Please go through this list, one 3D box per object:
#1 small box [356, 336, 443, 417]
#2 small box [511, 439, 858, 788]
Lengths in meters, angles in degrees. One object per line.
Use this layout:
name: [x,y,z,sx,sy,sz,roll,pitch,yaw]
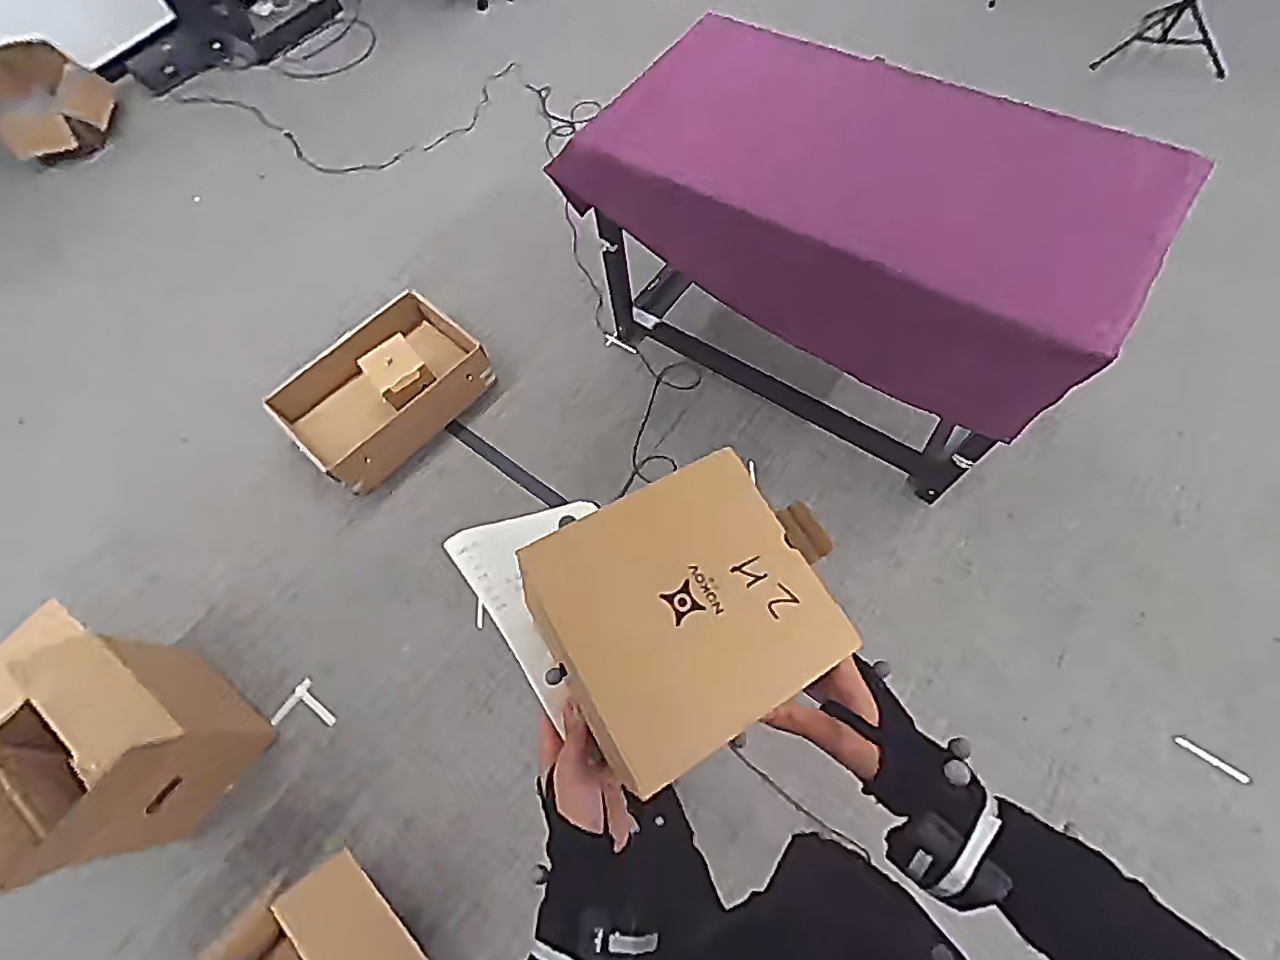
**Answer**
small box: [-0.785,-0.331,1.784,0.168,0.176,0.179,-39,68,-12]
small box: [0.018,0.102,0.416,0.179,0.176,0.168,-25,74,-19]
